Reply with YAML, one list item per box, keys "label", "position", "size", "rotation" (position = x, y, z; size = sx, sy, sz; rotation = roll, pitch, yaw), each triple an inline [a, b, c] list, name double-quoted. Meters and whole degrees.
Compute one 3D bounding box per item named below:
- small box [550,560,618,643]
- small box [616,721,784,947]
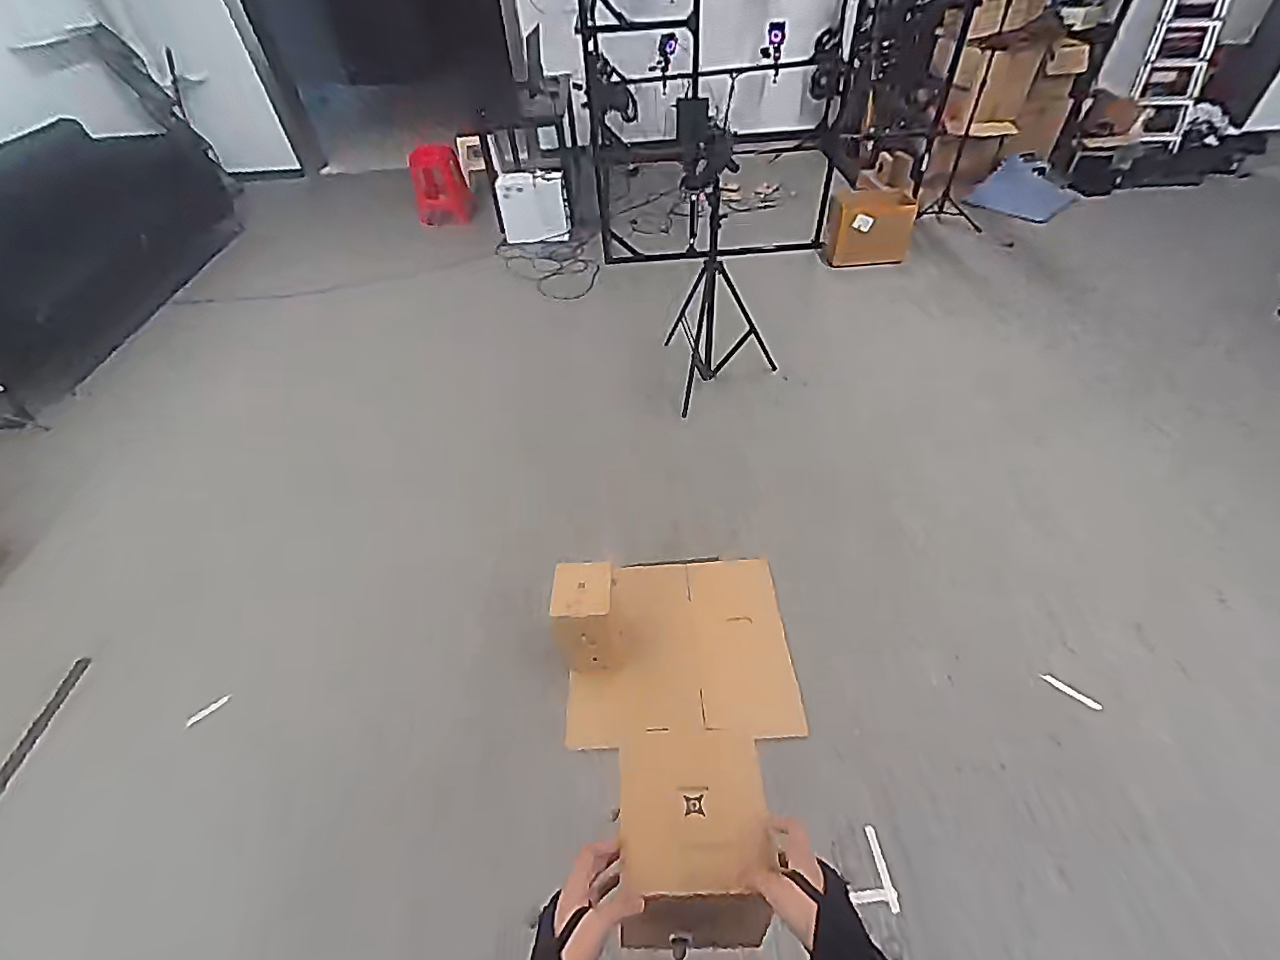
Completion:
- label: "small box"
  position: [-0.154, 0.352, 1.563]
  size: [0.168, 0.176, 0.179]
  rotation: [-2, 47, 4]
- label: "small box"
  position: [0.056, 0.411, 0.638]
  size: [0.168, 0.176, 0.179]
  rotation: [0, 35, -1]
